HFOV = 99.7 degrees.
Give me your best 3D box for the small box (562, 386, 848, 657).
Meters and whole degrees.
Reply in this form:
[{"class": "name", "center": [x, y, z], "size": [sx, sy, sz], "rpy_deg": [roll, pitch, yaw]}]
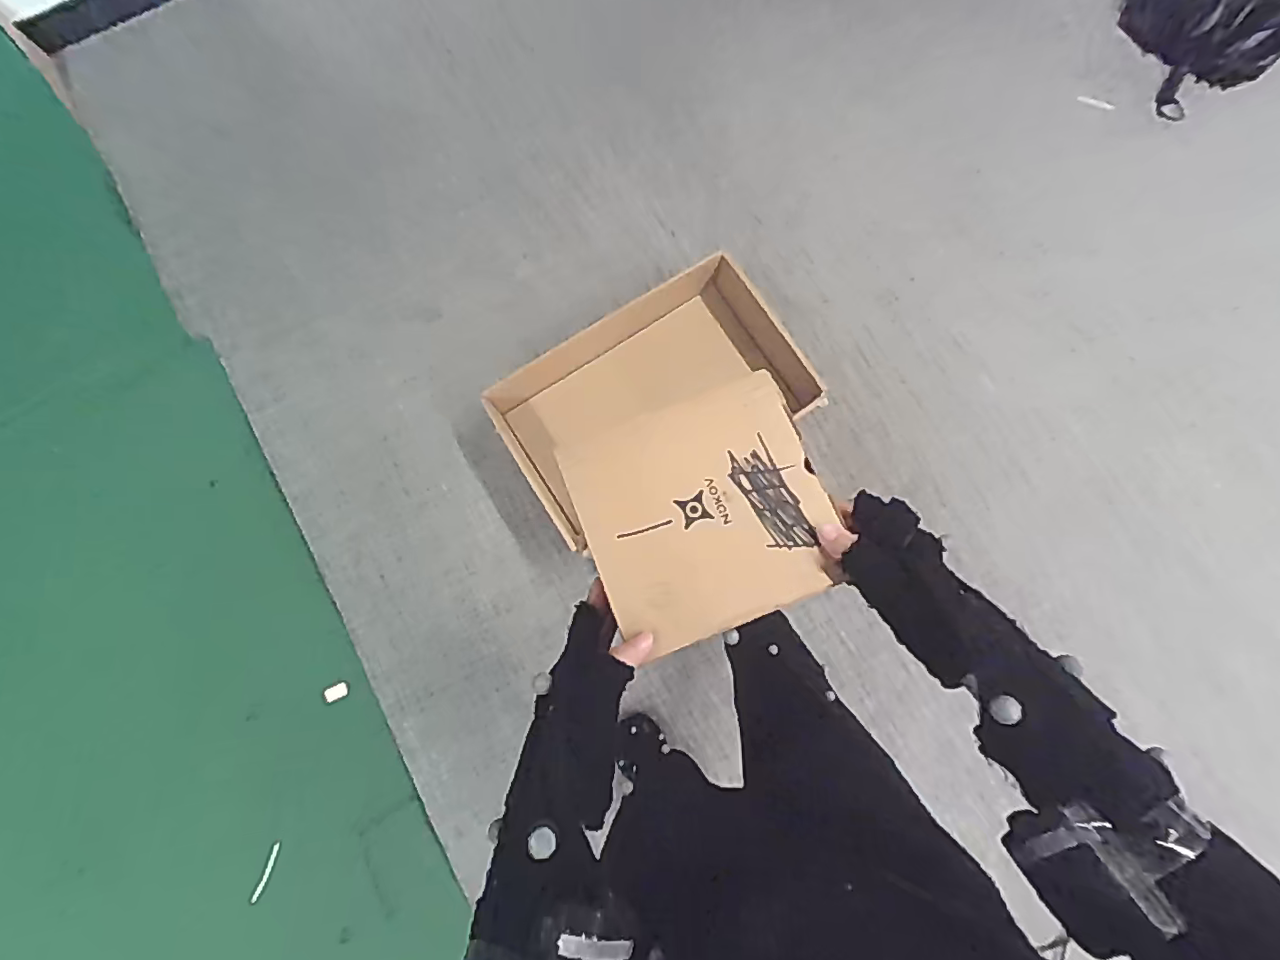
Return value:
[{"class": "small box", "center": [0.045, 0.045, 0.484], "size": [0.179, 0.176, 0.168], "rpy_deg": [-20, 74, -7]}]
